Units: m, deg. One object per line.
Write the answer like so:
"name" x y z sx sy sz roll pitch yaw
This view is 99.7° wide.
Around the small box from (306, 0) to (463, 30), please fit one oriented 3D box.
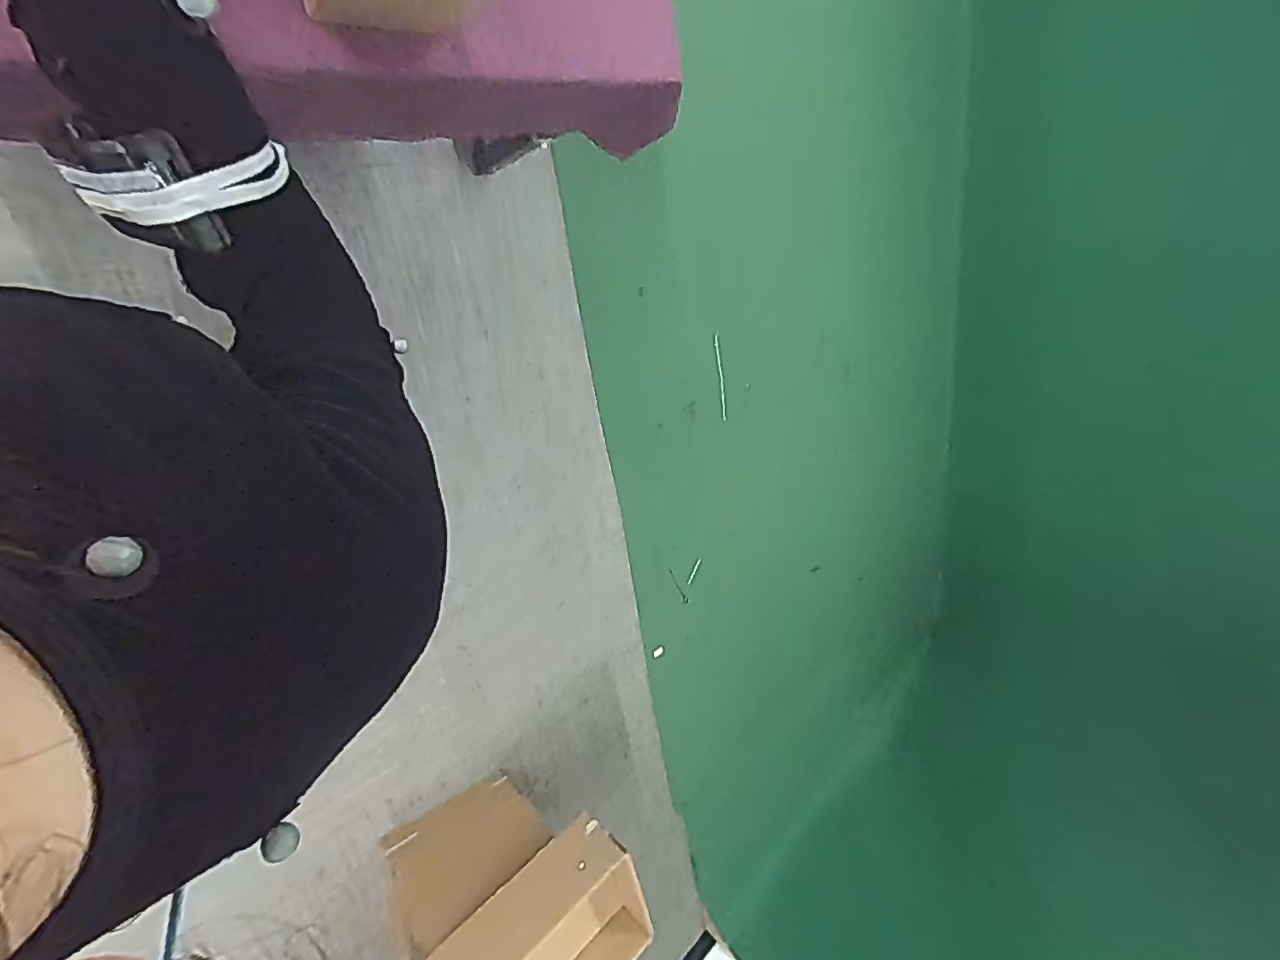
"small box" -0.286 -0.631 0.590 0.179 0.176 0.168 -27 117 -35
